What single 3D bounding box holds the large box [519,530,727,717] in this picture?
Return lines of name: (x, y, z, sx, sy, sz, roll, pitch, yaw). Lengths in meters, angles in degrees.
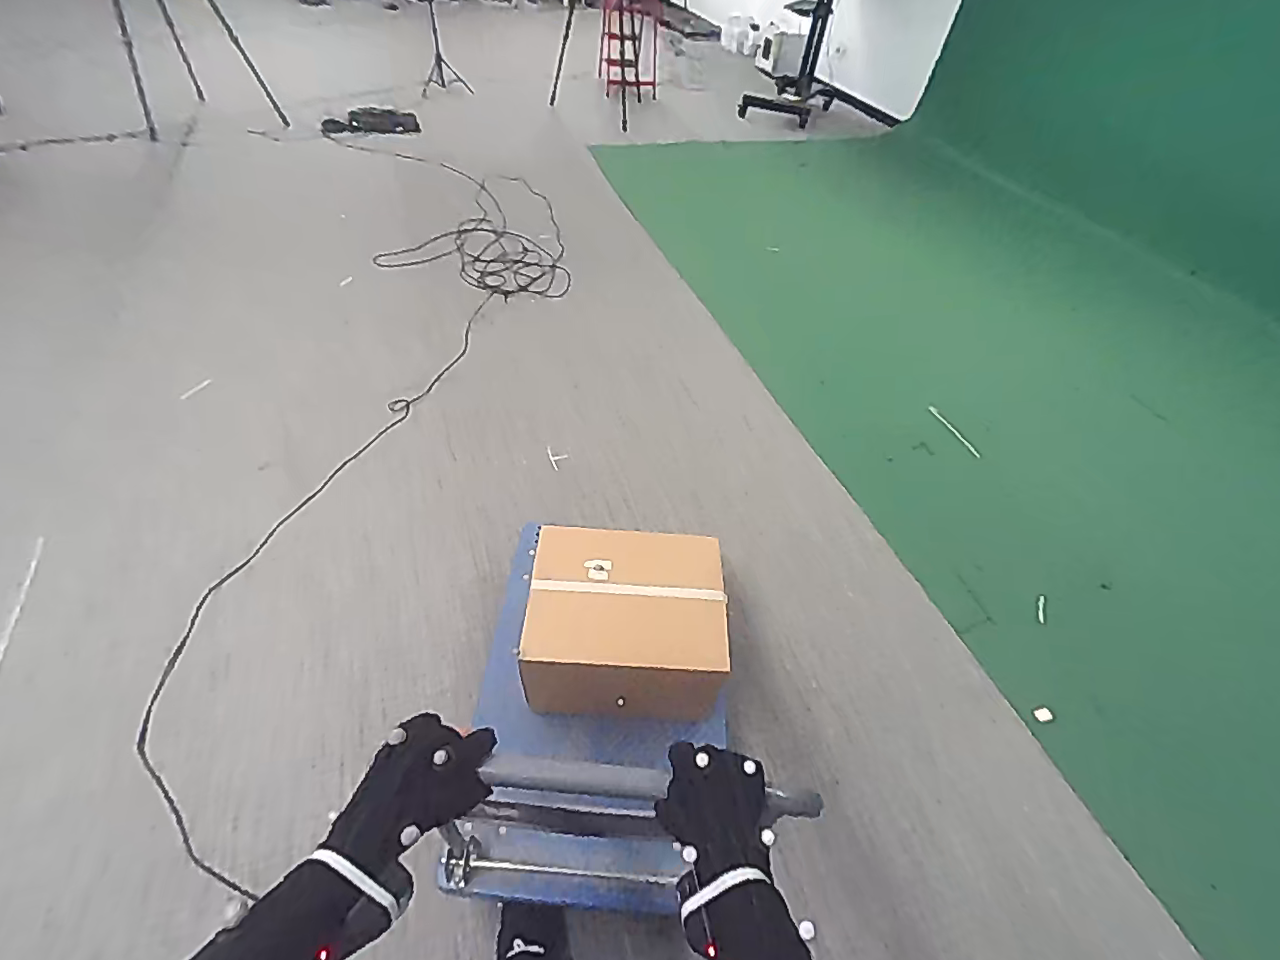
large box: (-0.037, 0.334, 1.233, 0.408, 0.320, 0.320, 4, 49, -2)
